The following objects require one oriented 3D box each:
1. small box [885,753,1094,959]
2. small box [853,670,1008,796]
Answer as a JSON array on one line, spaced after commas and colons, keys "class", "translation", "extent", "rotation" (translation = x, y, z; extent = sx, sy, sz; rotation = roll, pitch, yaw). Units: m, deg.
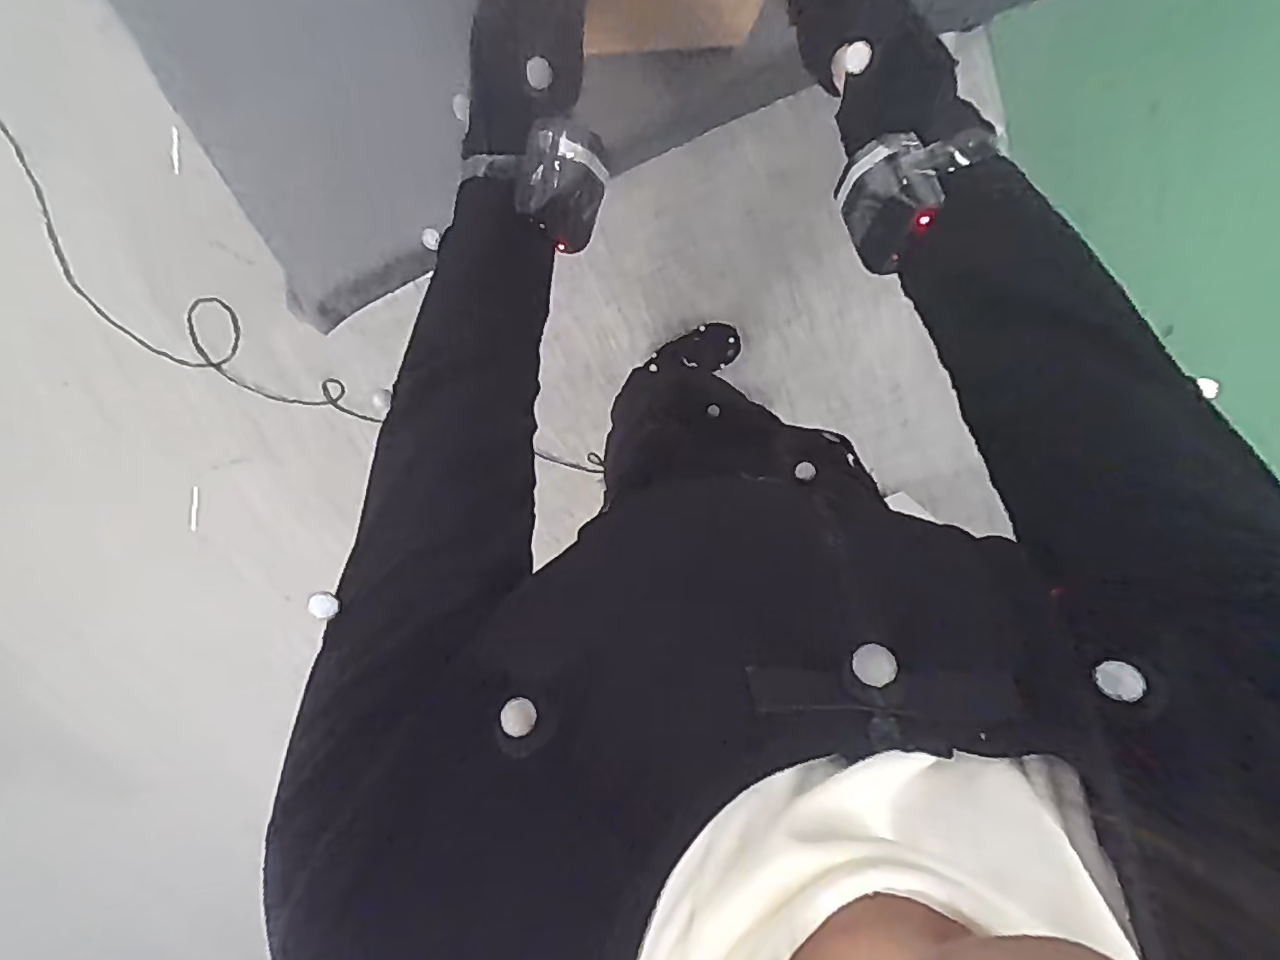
[{"class": "small box", "translation": [0.474, 0.525, 0.755], "extent": [0.168, 0.176, 0.179], "rotation": [-26, 110, 12]}, {"class": "small box", "translation": [0.478, 0.456, 0.904], "extent": [0.179, 0.176, 0.168], "rotation": [-25, 109, 9]}]
